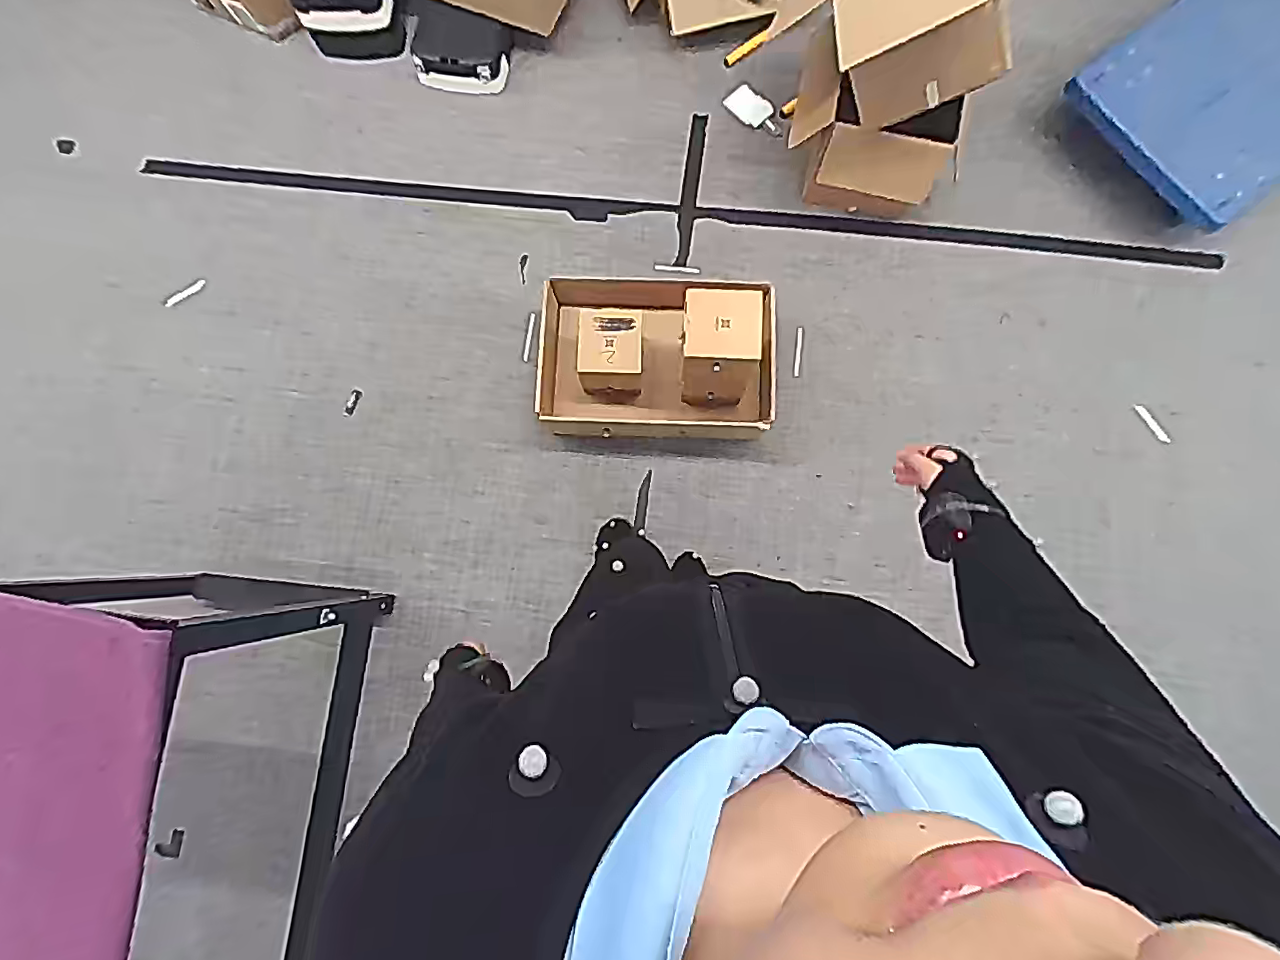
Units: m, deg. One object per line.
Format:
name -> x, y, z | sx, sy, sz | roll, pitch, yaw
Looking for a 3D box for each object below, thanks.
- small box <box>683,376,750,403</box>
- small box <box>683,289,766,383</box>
small box -> 0.206, -0.315, 1.458 | 0.168, 0.176, 0.179 | 3, 81, 2
small box -> 0.197, -0.338, 1.297 | 0.179, 0.176, 0.168 | 3, 81, 3
